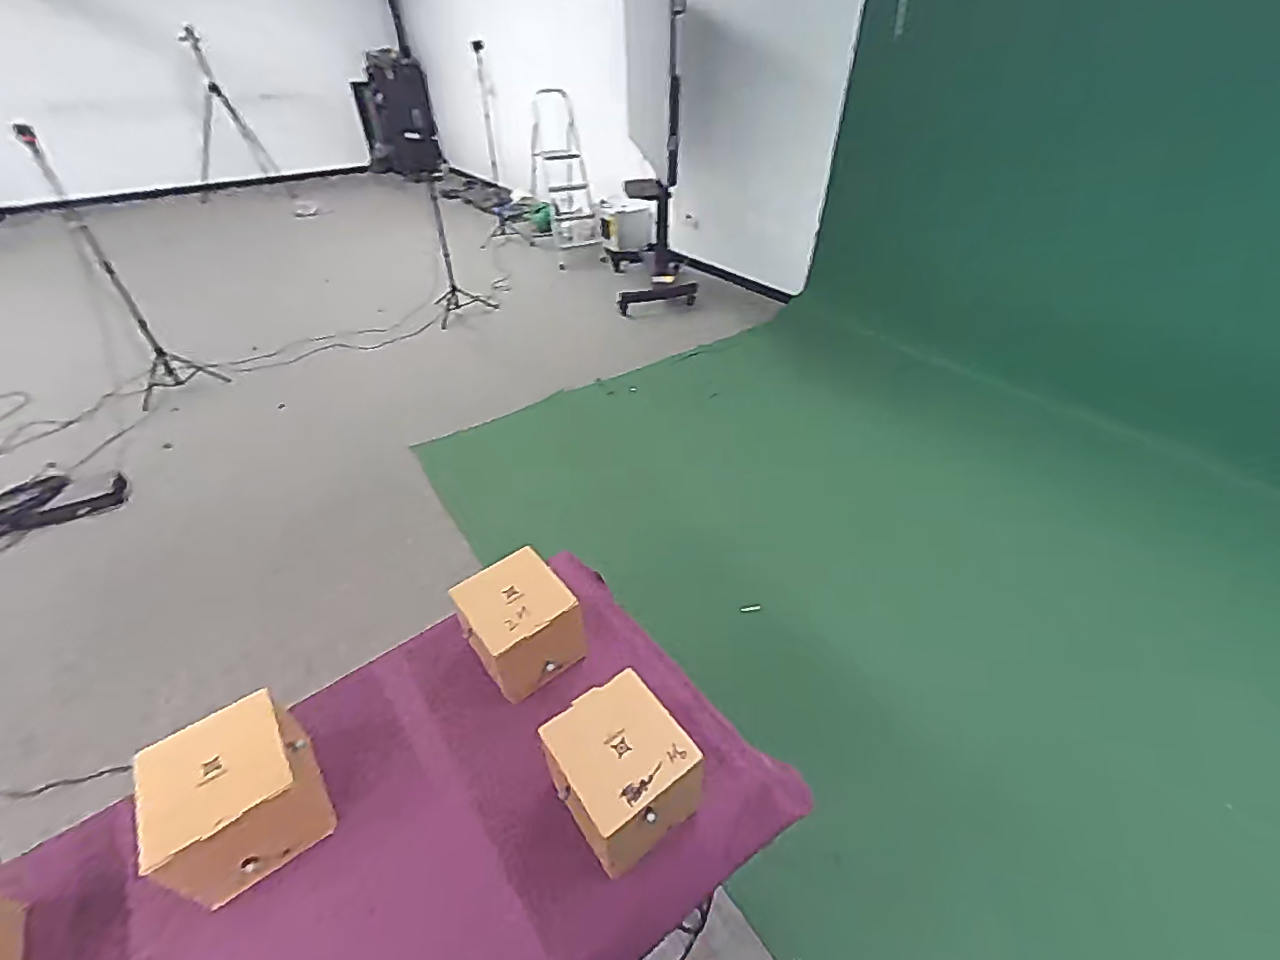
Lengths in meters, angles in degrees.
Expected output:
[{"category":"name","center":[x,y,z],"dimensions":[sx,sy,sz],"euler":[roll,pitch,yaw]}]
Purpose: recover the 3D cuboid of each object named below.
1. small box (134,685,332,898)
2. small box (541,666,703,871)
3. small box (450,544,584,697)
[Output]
[{"category":"small box","center":[-0.573,0.442,0.772],"dimensions":[0.168,0.176,0.179],"euler":[-26,48,-29]},{"category":"small box","center":[-0.027,0.422,0.798],"dimensions":[0.168,0.176,0.179],"euler":[-26,44,-27]},{"category":"small box","center":[-0.220,0.257,0.992],"dimensions":[0.168,0.176,0.179],"euler":[-29,49,-27]}]
